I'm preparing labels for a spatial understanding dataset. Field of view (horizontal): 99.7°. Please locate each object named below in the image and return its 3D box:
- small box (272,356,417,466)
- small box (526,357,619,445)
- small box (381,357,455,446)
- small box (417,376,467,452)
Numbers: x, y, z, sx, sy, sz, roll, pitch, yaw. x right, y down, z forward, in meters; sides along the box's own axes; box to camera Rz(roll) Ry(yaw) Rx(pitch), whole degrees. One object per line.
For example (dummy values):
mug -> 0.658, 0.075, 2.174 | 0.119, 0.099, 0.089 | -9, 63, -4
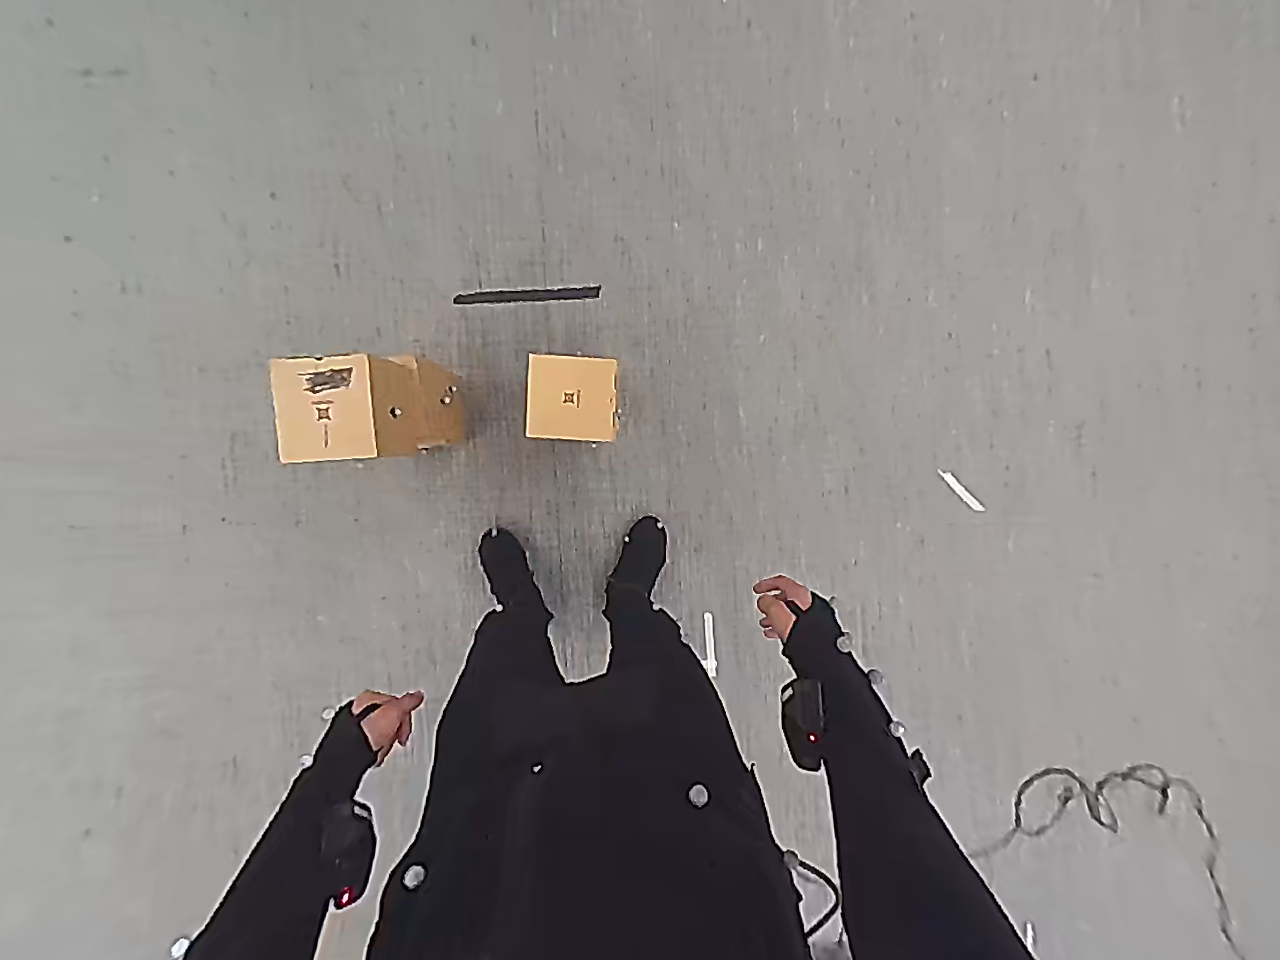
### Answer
small box -> -0.519, -0.118, 0.972 | 0.168, 0.176, 0.179 | -3, 95, 0
small box -> -0.136, -0.161, 1.147 | 0.179, 0.176, 0.168 | 3, 94, -2
small box -> -0.509, -0.154, 1.135 | 0.179, 0.176, 0.168 | -7, 94, -1
small box -> -0.527, -0.160, 1.298 | 0.168, 0.176, 0.179 | -6, 94, -1
